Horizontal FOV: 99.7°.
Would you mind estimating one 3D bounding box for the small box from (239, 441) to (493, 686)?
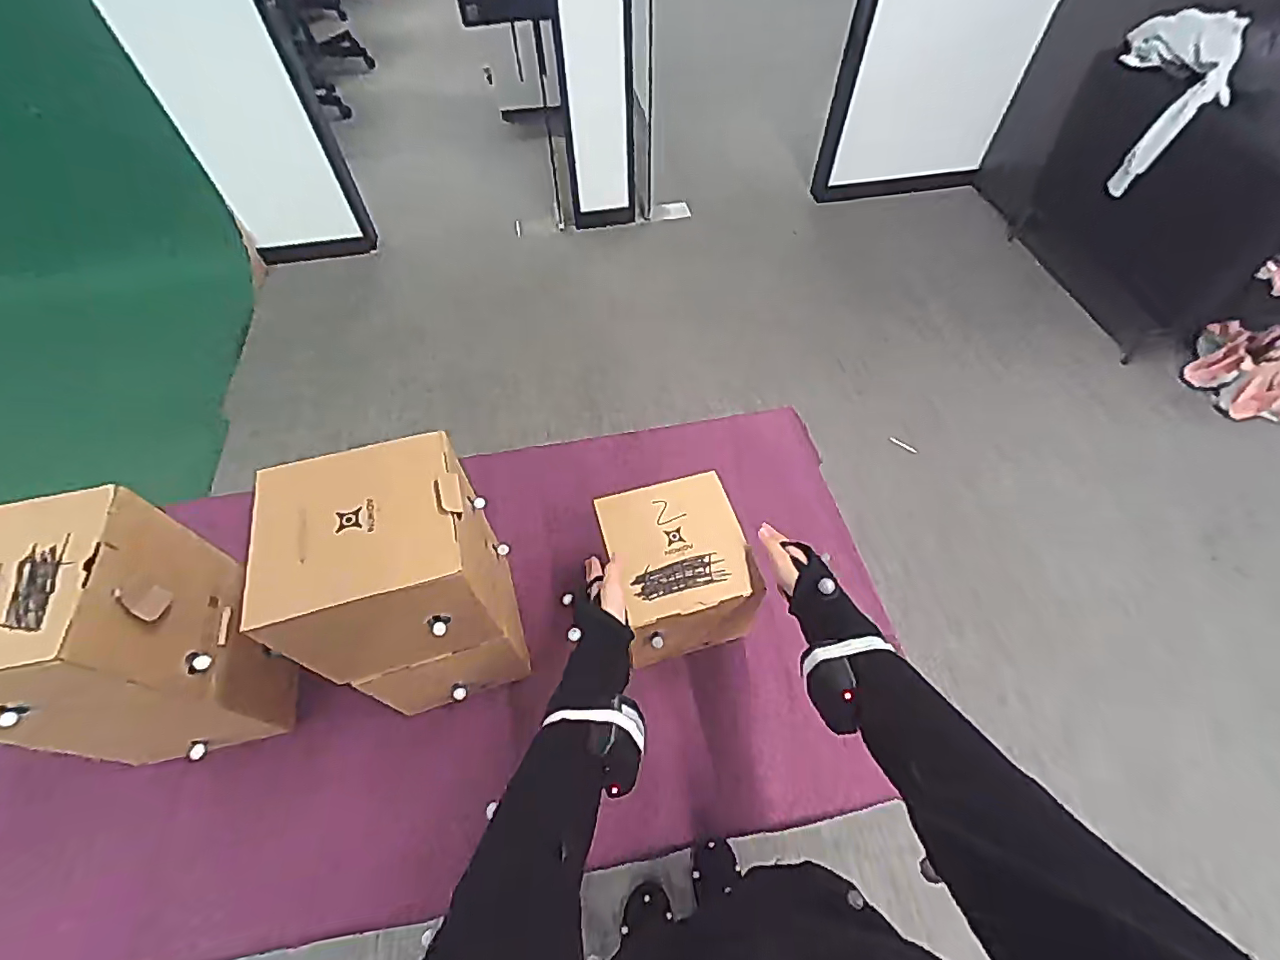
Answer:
[{"bbox_3d":[-0.257,0.090,0.551,0.179,0.176,0.168,-14,56,-8],"label":"small box"}]

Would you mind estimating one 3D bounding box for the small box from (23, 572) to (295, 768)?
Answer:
[{"bbox_3d":[-0.544,0.233,0.654,0.179,0.176,0.168,-11,57,-7],"label":"small box"}]

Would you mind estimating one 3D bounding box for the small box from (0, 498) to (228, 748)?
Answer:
[{"bbox_3d":[-0.545,0.142,0.518,0.179,0.176,0.168,-11,57,-6],"label":"small box"}]

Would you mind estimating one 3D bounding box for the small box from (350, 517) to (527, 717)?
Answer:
[{"bbox_3d":[-0.252,0.177,0.689,0.168,0.176,0.179,-16,58,-9],"label":"small box"}]
